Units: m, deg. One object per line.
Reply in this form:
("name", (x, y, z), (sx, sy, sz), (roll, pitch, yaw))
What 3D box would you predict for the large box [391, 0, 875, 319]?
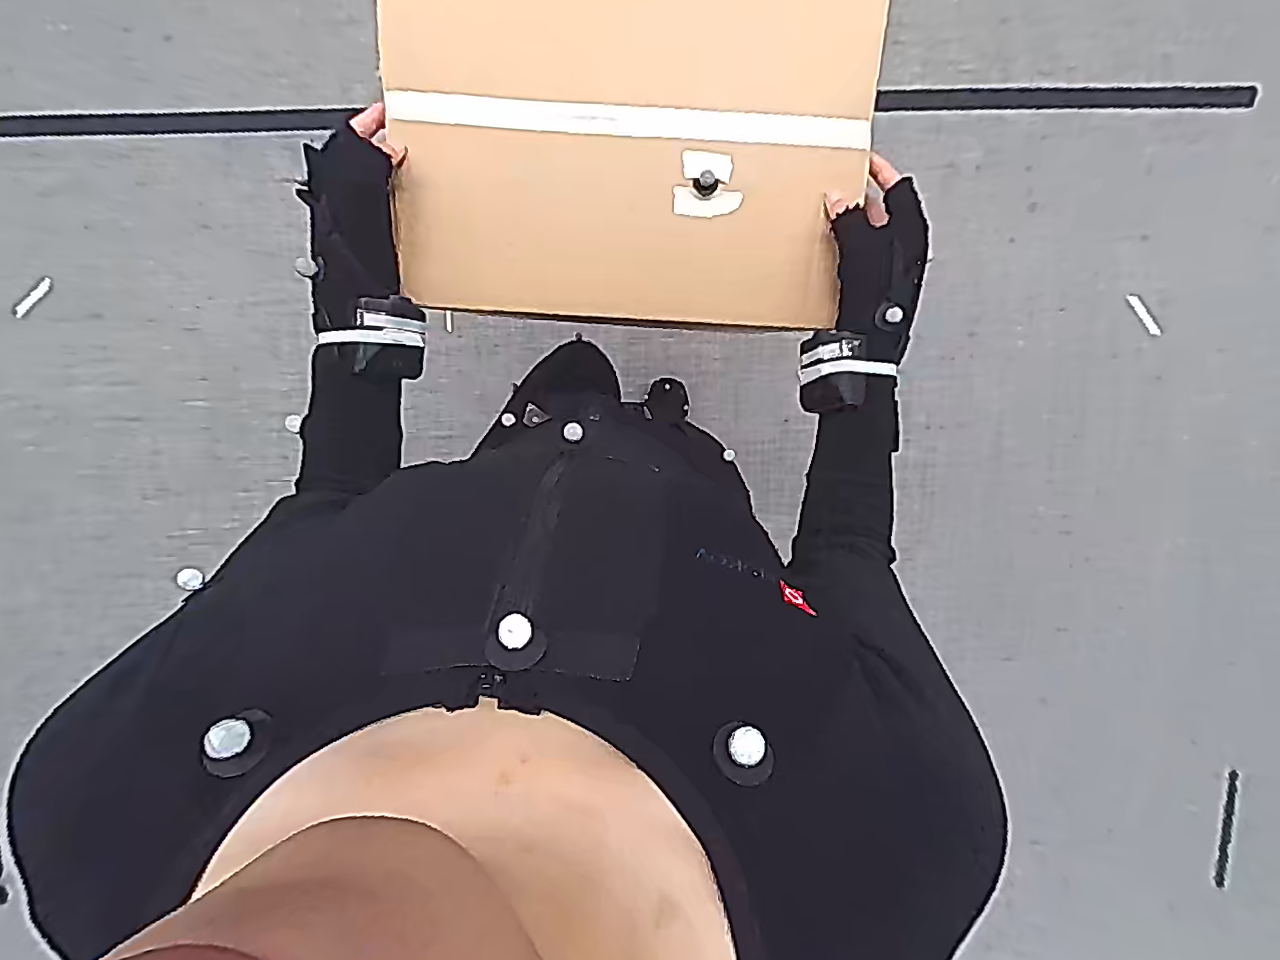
("large box", (-0.011, -0.352, 0.605), (0.408, 0.320, 0.320), (2, 105, -2))
